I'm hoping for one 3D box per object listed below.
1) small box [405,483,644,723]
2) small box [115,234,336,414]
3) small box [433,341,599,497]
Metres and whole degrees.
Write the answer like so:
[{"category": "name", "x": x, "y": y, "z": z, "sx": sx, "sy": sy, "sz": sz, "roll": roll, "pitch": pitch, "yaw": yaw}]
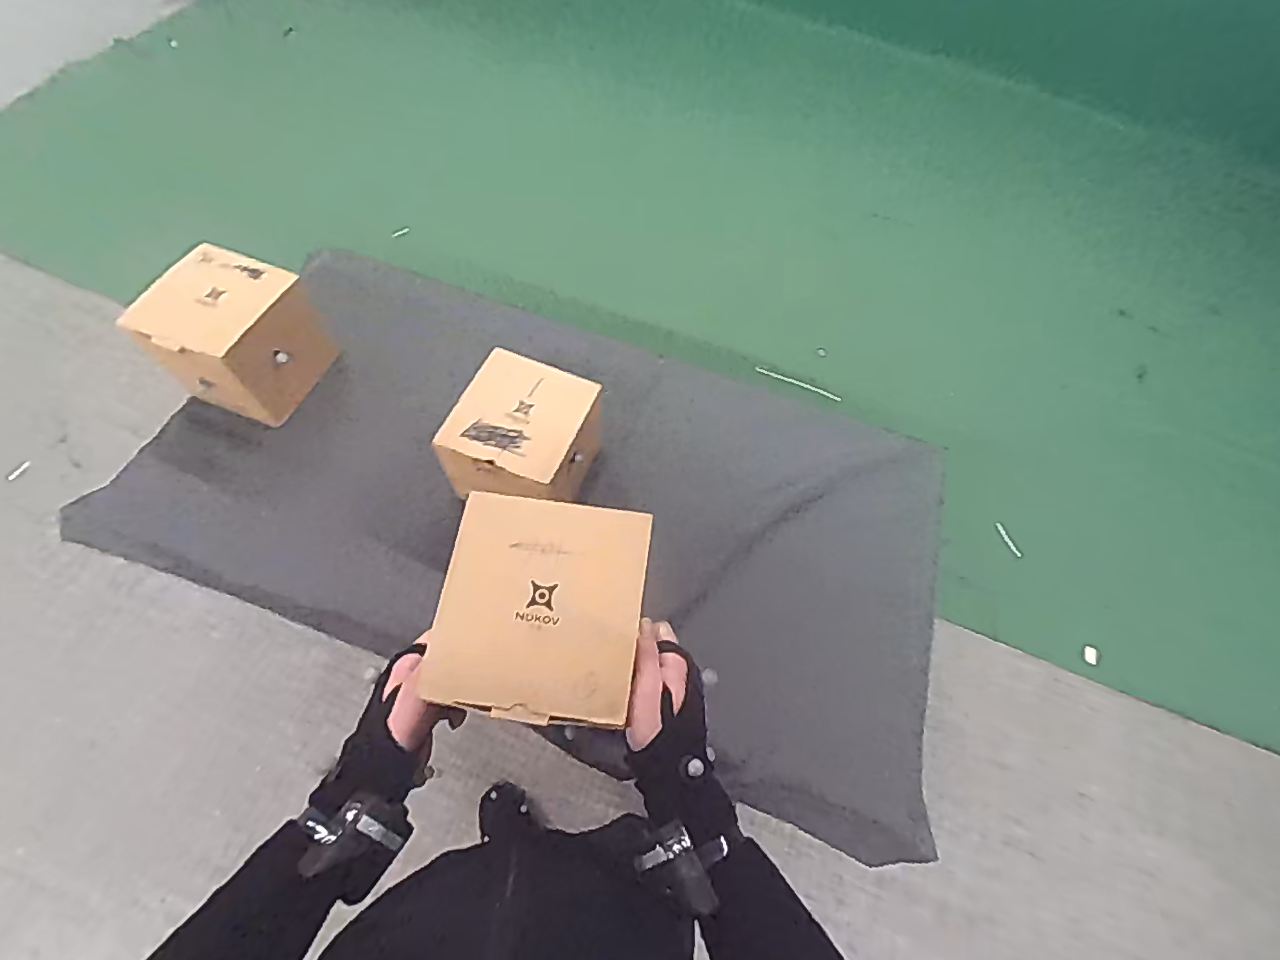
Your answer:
[{"category": "small box", "x": -0.090, "y": 0.123, "z": 0.511, "sx": 0.168, "sy": 0.176, "sz": 0.179, "roll": 8, "pitch": 67, "yaw": 0}, {"category": "small box", "x": -0.608, "y": -0.228, "z": 0.826, "sx": 0.168, "sy": 0.176, "sz": 0.179, "roll": 21, "pitch": 65, "yaw": 3}, {"category": "small box", "x": -0.166, "y": -0.061, "z": 0.788, "sx": 0.168, "sy": 0.176, "sz": 0.179, "roll": 21, "pitch": 63, "yaw": 5}]
